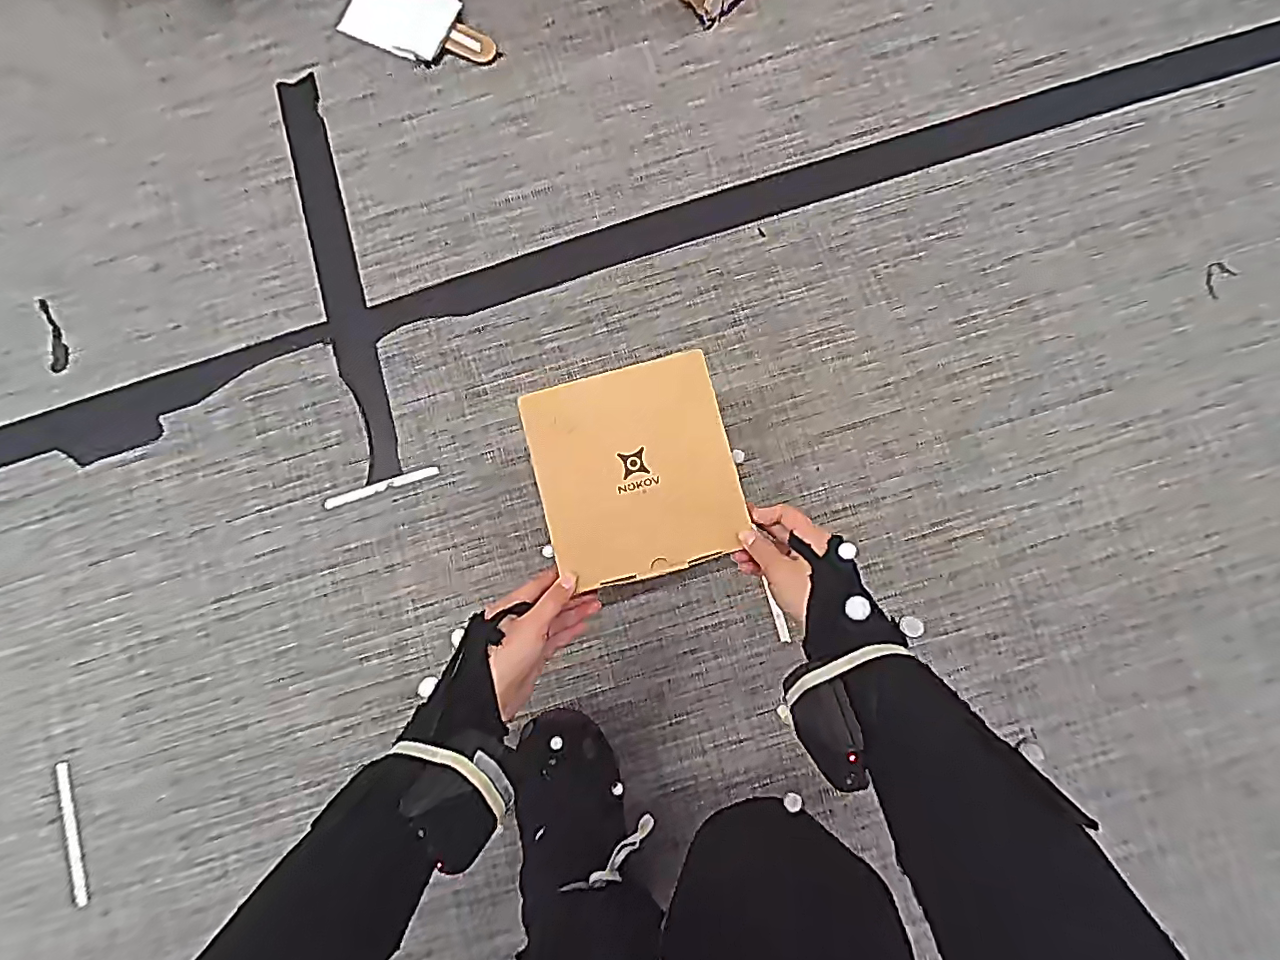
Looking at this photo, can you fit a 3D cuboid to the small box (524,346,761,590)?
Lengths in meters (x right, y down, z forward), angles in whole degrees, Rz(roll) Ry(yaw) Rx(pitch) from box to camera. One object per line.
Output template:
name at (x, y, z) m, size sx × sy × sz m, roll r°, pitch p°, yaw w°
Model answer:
small box at (-0.001, -0.003, 0.525) m, size 0.168 × 0.176 × 0.179 m, roll -15°, pitch 84°, yaw -2°
